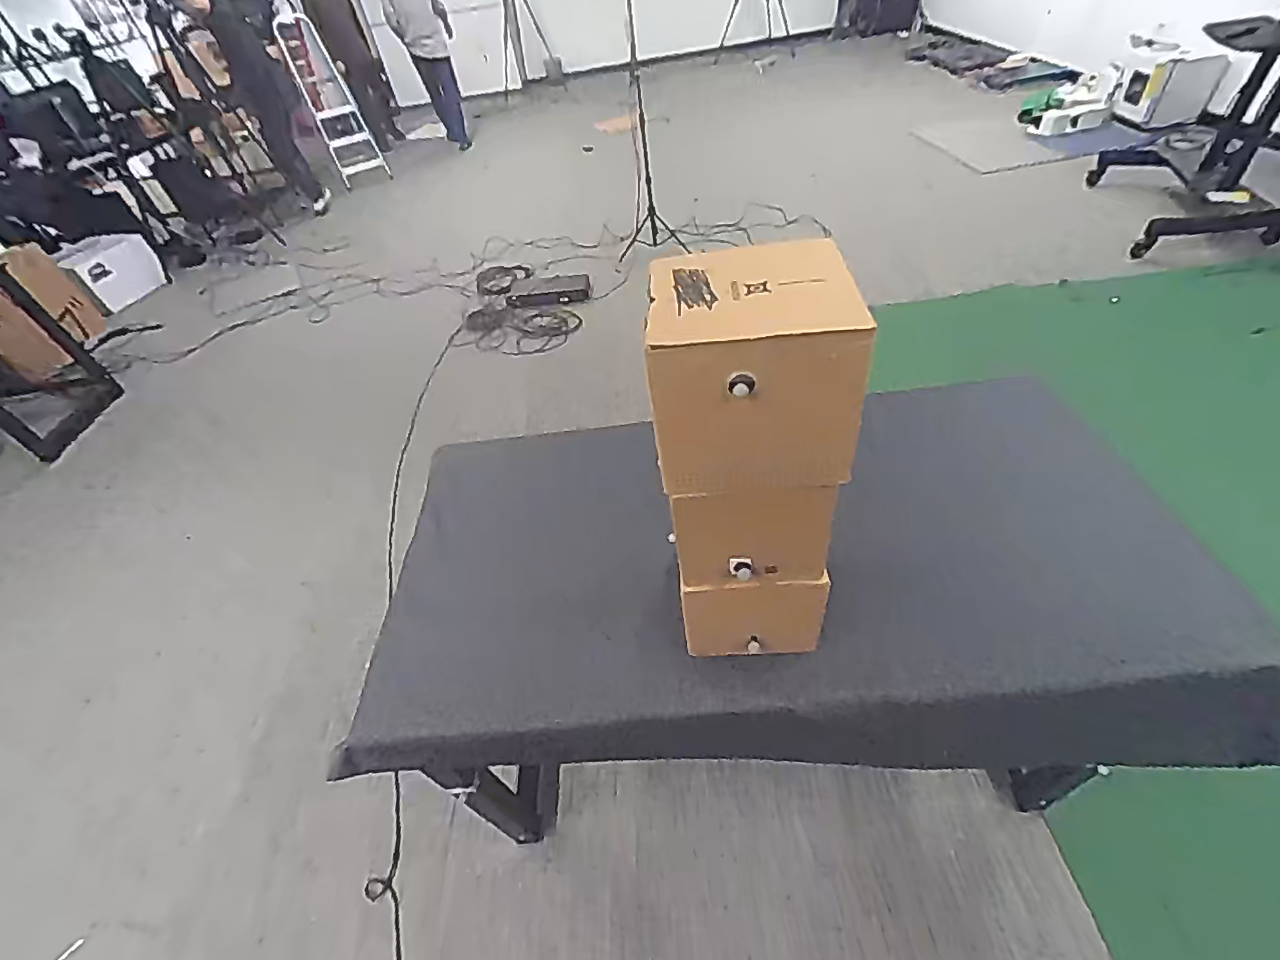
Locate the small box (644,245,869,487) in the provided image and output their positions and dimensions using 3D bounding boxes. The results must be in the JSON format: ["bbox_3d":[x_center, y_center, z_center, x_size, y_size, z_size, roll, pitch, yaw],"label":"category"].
[{"bbox_3d":[0.104,-0.106,0.529,0.179,0.176,0.168,-3,45,7],"label":"small box"}]

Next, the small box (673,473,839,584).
[{"bbox_3d":[0.126,0.004,0.649,0.168,0.176,0.179,-6,46,6],"label":"small box"}]

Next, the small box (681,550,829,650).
[{"bbox_3d":[0.148,0.124,0.756,0.179,0.176,0.168,-4,45,5],"label":"small box"}]
